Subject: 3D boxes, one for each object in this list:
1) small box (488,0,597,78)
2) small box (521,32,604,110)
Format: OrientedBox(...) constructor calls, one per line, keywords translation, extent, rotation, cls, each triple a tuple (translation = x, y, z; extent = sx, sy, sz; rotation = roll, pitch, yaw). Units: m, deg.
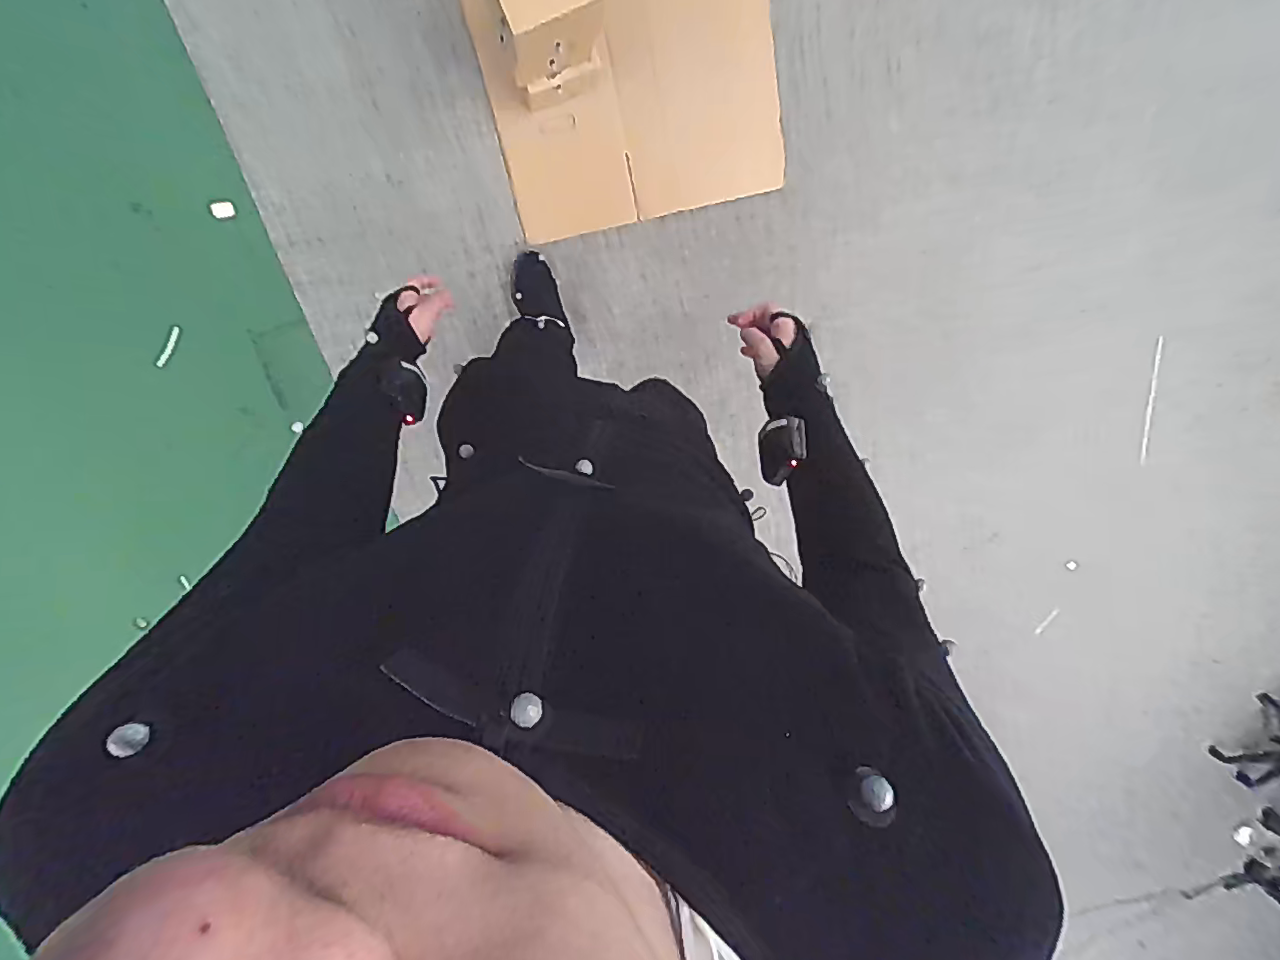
OrientedBox(translation=(-0.188, -0.880, 0.999), extent=(0.168, 0.176, 0.179), rotation=(-21, 113, -1), cls="small box")
OrientedBox(translation=(-0.190, -0.935, 1.156), extent=(0.168, 0.176, 0.179), rotation=(-22, 114, 0), cls="small box")
